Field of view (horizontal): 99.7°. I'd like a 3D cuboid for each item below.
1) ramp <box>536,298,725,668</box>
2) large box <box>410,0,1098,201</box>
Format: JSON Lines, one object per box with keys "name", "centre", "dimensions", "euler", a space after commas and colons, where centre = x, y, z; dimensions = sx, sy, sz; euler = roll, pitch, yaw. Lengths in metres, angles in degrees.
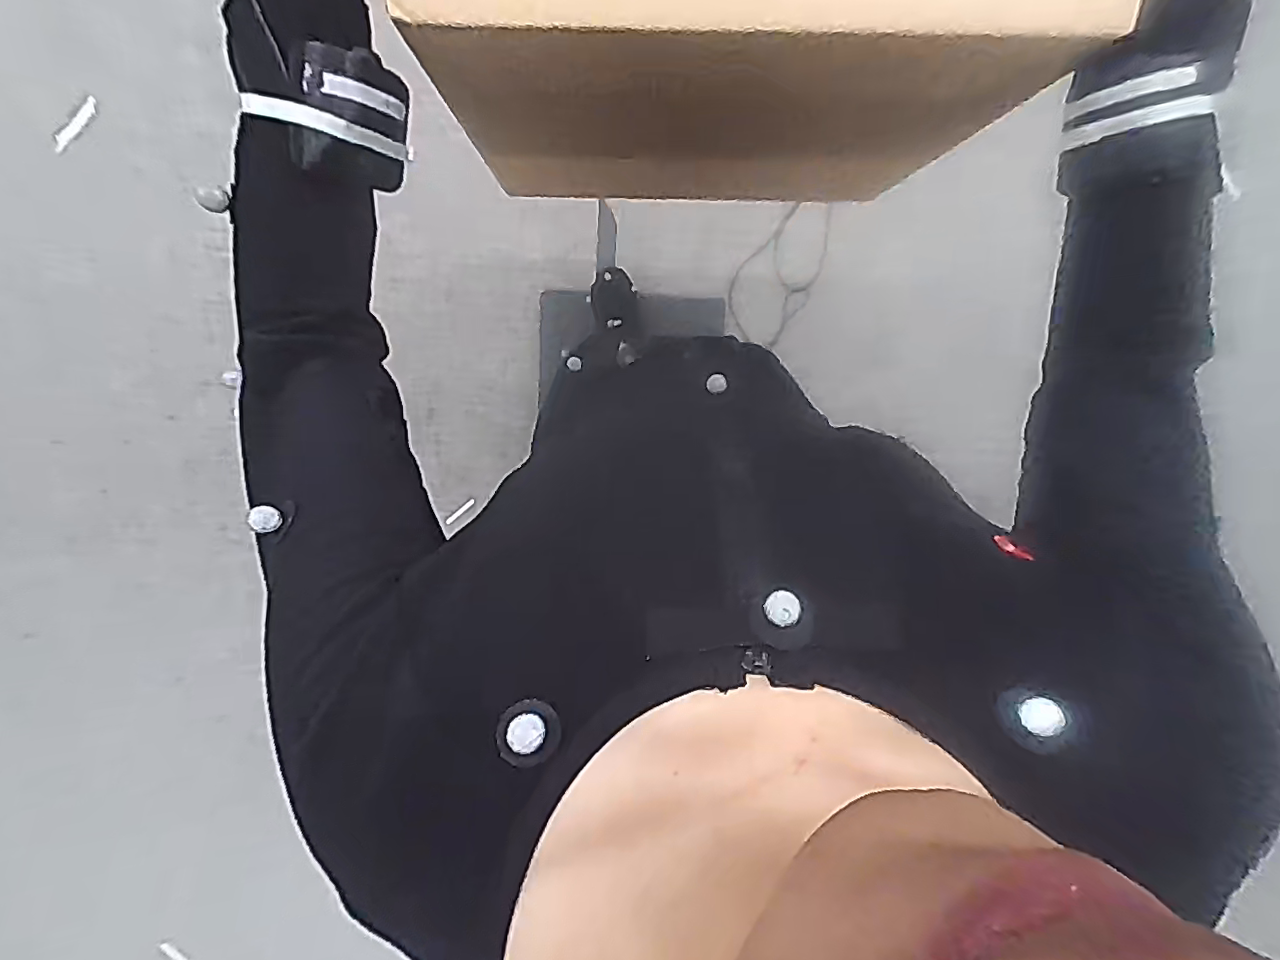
{"name": "ramp", "centre": [-0.030, 0.016, 1.471], "dimensions": [0.509, 0.206, 0.991], "euler": [0, 102, 0]}
{"name": "large box", "centre": [0.057, -0.433, 0.425], "dimensions": [0.408, 0.320, 0.320], "euler": [-1, 102, -3]}
